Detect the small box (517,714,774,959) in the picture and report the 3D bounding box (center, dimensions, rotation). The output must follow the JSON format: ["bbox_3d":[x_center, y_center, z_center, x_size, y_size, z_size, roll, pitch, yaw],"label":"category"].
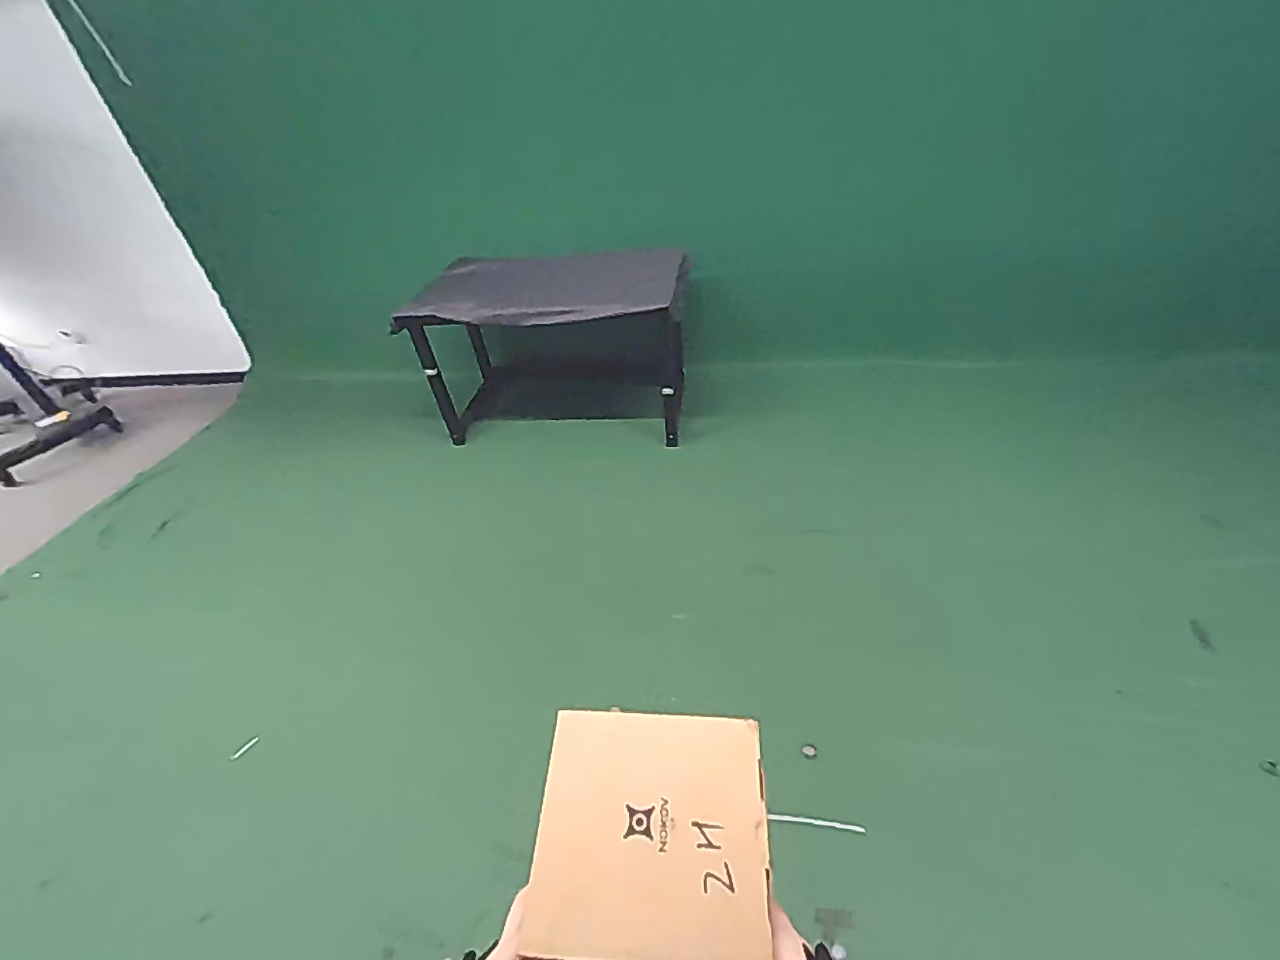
[{"bbox_3d":[0.014,0.319,0.468,0.179,0.176,0.168,1,49,6],"label":"small box"}]
